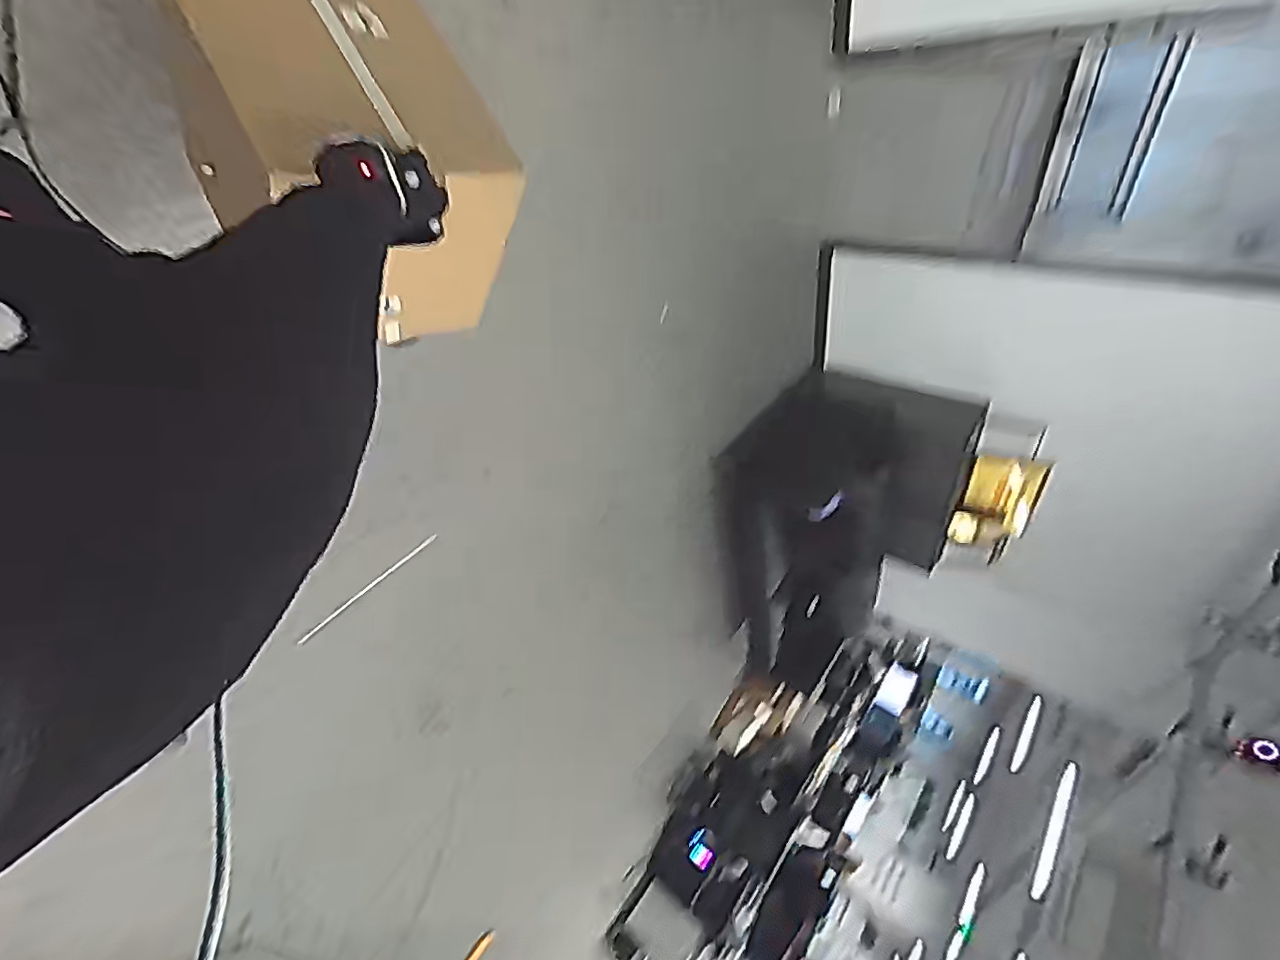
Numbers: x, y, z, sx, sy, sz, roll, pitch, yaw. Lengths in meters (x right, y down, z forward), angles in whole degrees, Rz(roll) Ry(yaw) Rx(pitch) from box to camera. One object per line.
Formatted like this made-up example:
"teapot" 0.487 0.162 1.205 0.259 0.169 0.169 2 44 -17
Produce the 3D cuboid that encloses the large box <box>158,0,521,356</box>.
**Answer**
"large box" -0.441 -0.459 0.814 0.320 0.408 0.320 -23 165 -38
